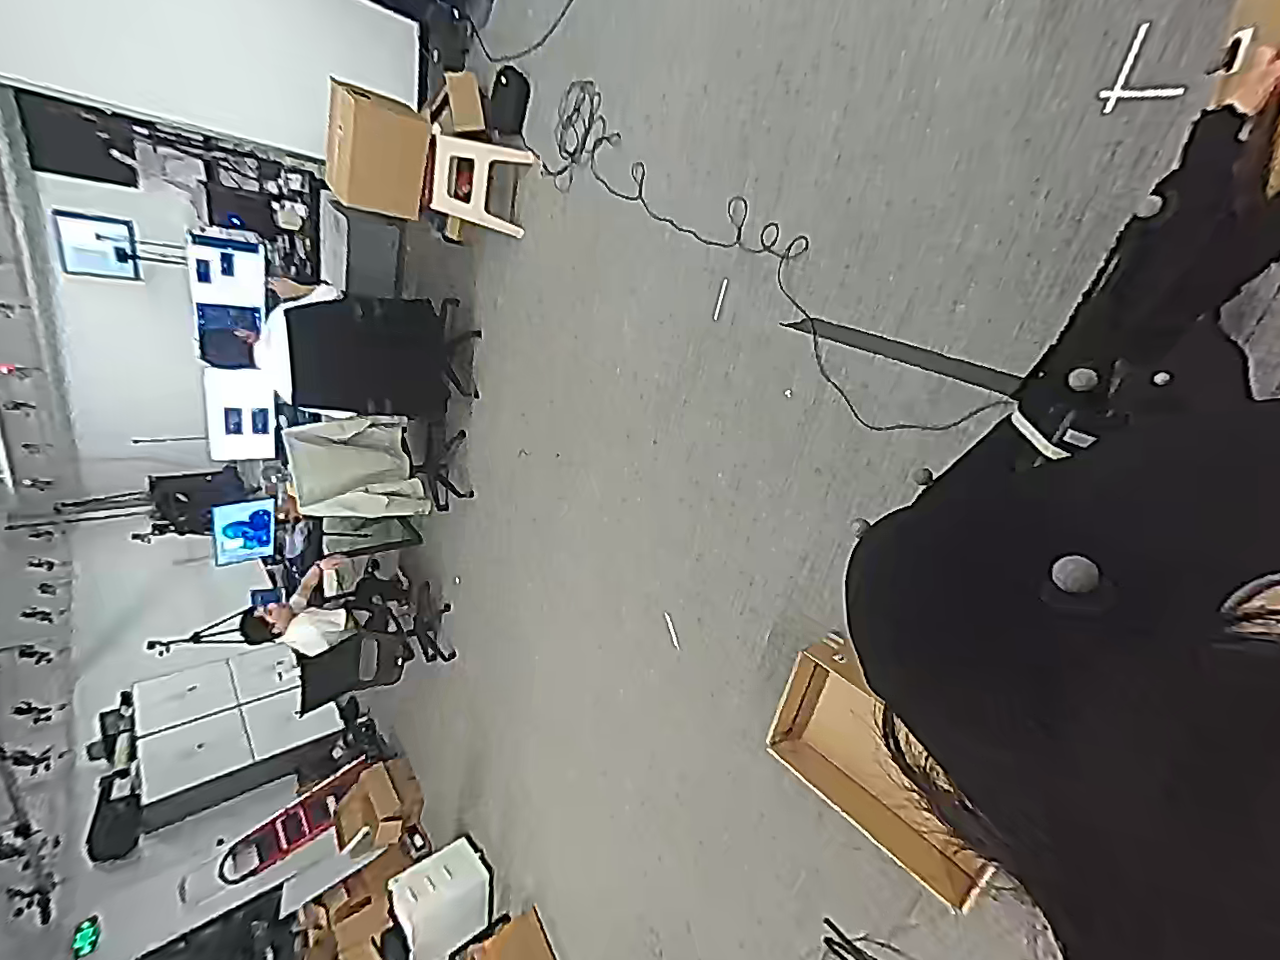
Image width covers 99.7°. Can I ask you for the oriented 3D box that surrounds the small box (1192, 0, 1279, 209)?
[{"bbox_3d":[0.460,-0.259,0.296,0.179,0.176,0.168,6,120,32],"label":"small box"}]
